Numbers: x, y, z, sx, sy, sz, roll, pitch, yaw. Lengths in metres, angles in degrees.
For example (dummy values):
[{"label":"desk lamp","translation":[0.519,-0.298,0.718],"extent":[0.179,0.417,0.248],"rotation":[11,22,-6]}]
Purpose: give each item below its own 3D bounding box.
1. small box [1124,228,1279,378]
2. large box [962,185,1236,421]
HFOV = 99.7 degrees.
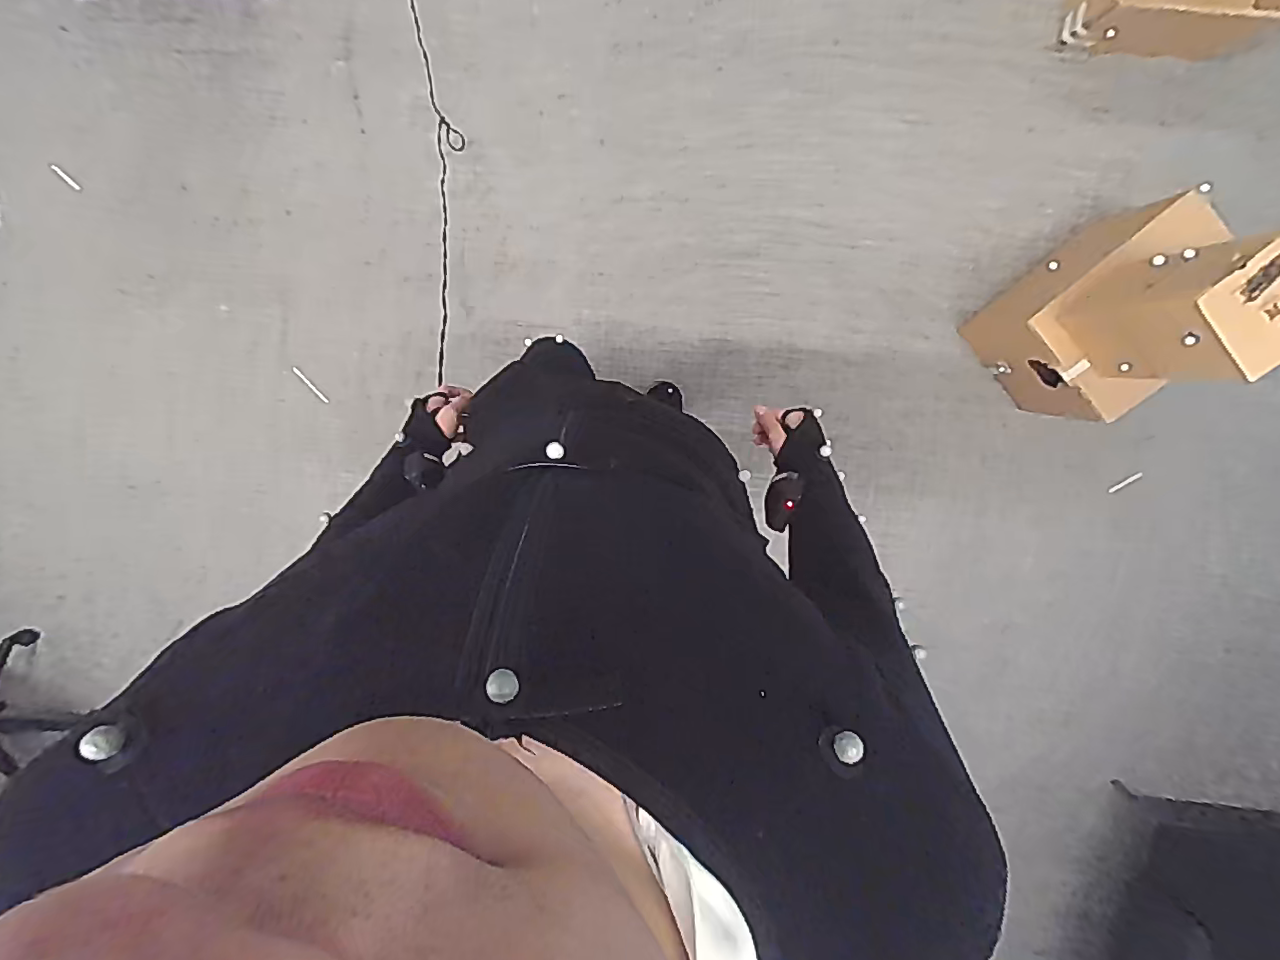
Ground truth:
[{"label":"small box","translation":[1.000,-0.291,0.922],"extent":[0.168,0.176,0.179],"rotation":[-40,97,11]},{"label":"large box","translation":[1.108,-0.399,1.311],"extent":[0.408,0.320,0.320],"rotation":[-42,97,10]}]
